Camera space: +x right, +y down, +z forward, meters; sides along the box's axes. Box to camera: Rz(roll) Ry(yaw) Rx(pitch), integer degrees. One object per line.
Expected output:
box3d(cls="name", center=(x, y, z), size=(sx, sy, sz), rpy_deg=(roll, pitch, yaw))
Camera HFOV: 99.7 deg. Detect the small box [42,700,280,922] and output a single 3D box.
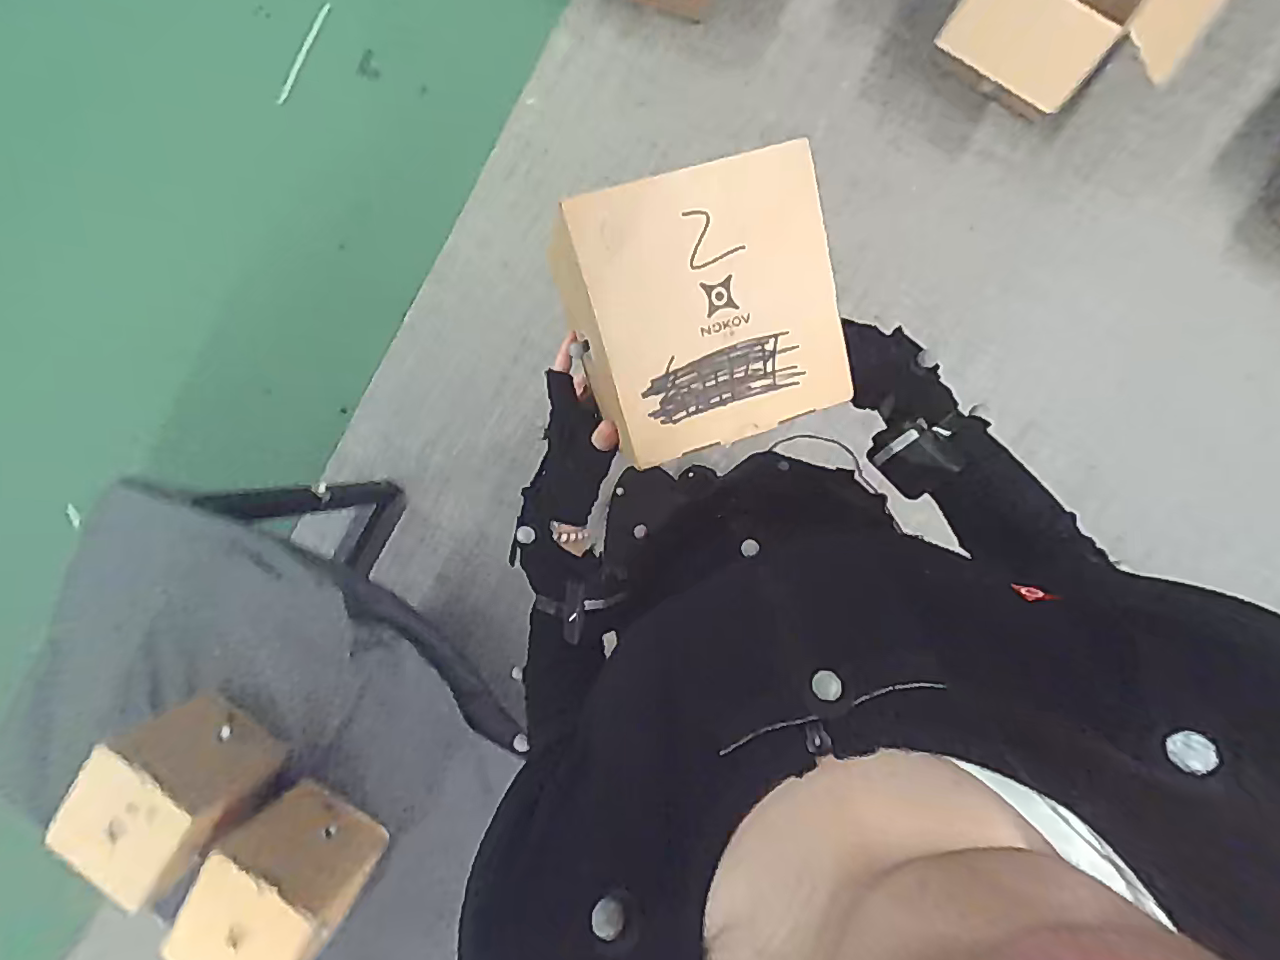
box3d(cls="small box", center=(-0.679, 0.465, 0.788), size=(0.168, 0.176, 0.179), rpy_deg=(34, 96, 4))
